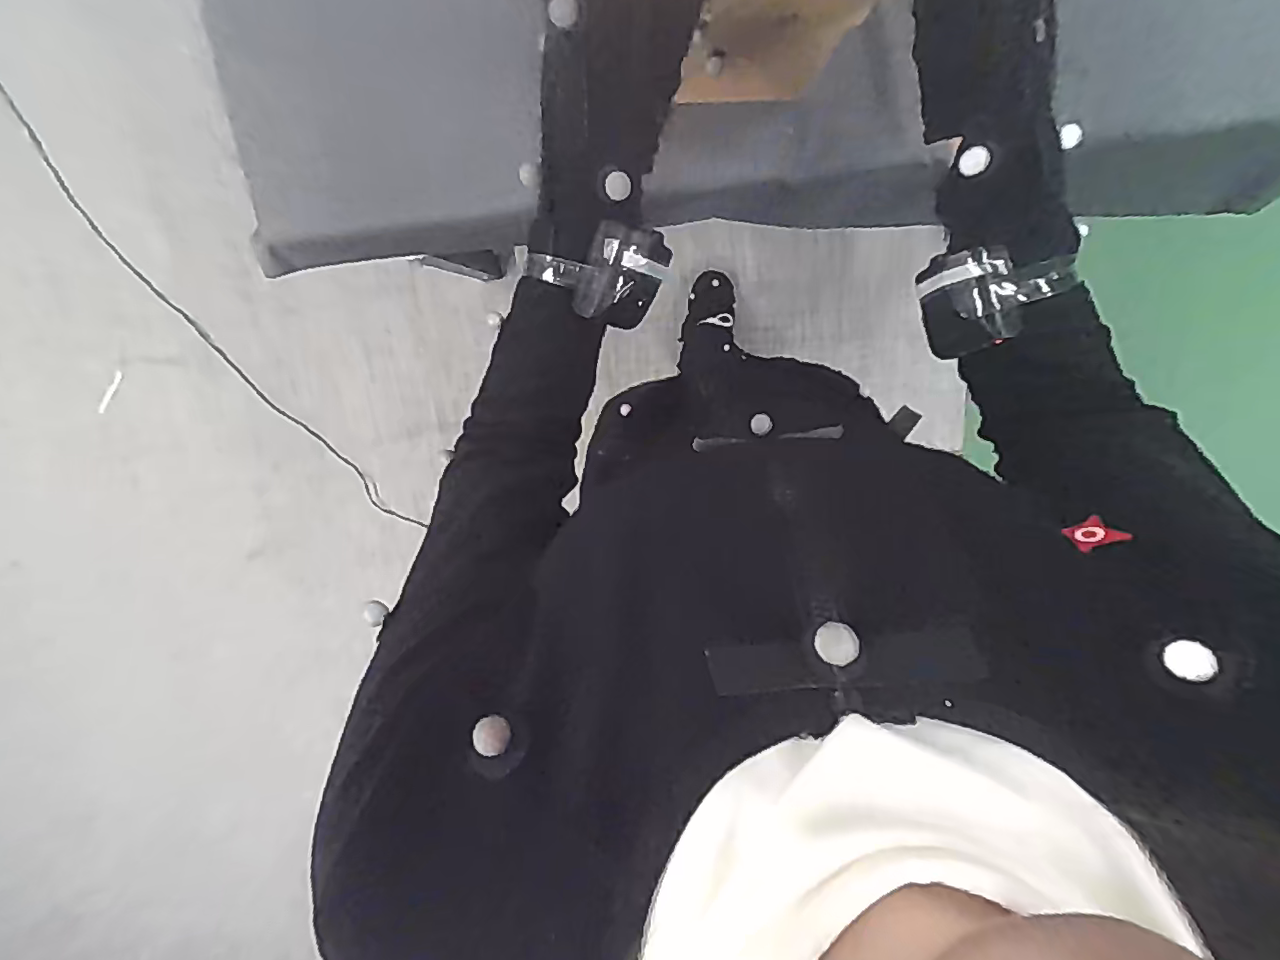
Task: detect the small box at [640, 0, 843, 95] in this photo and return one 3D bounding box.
[{"bbox_3d":[0.088,-0.473,0.481,0.179,0.176,0.168,-2,103,4],"label":"small box"}]
